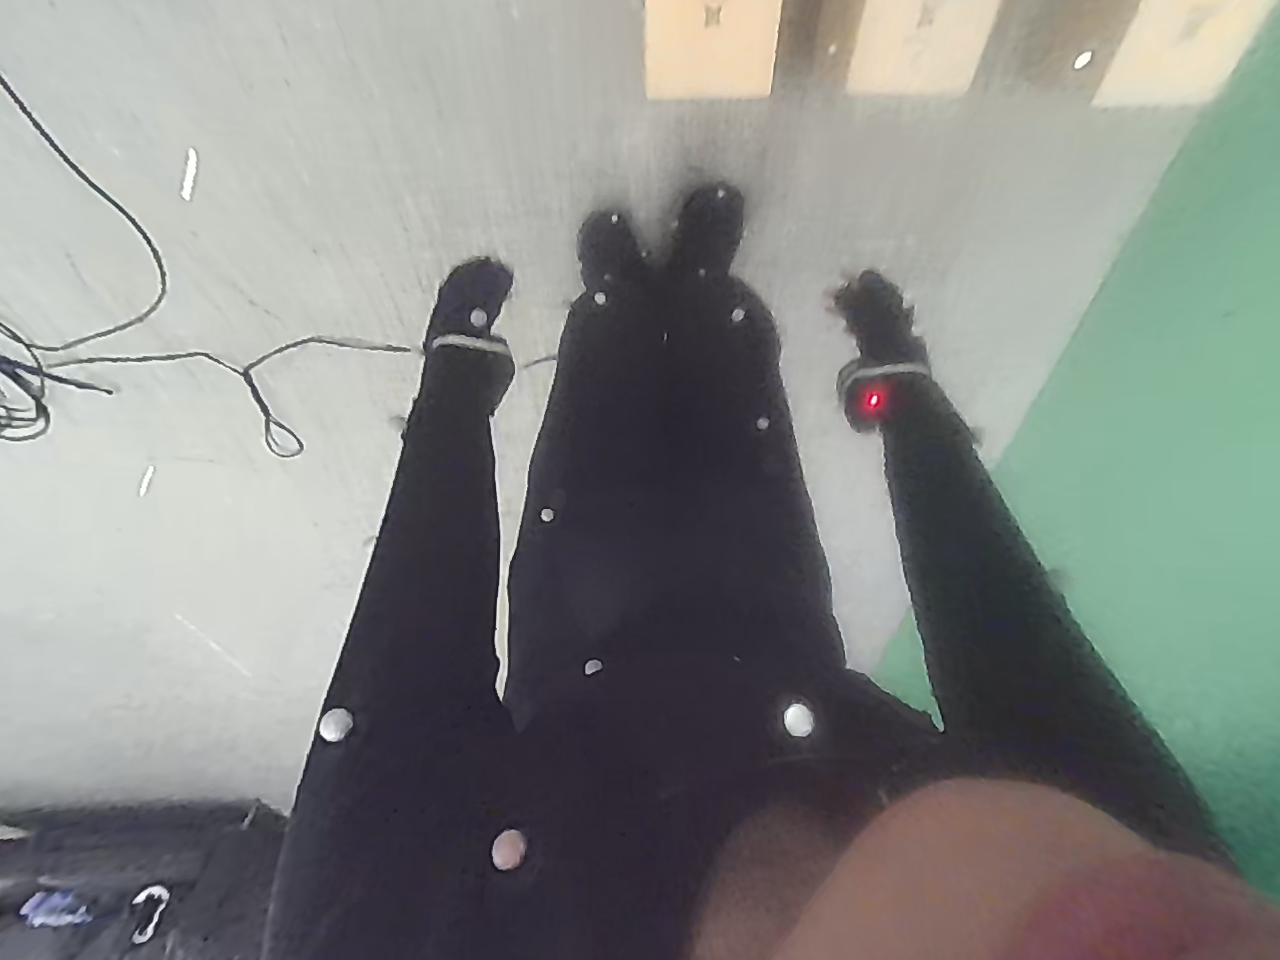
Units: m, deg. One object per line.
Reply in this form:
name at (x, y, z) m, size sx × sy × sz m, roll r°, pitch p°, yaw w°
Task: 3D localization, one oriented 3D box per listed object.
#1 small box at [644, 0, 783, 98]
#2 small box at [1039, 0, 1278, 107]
small box at (0.090, -0.621, 0.705) m, size 0.168 × 0.176 × 0.179 m, roll -1°, pitch 134°, yaw 1°
small box at (0.680, -0.618, 0.717) m, size 0.168 × 0.176 × 0.179 m, roll -2°, pitch 134°, yaw 0°
